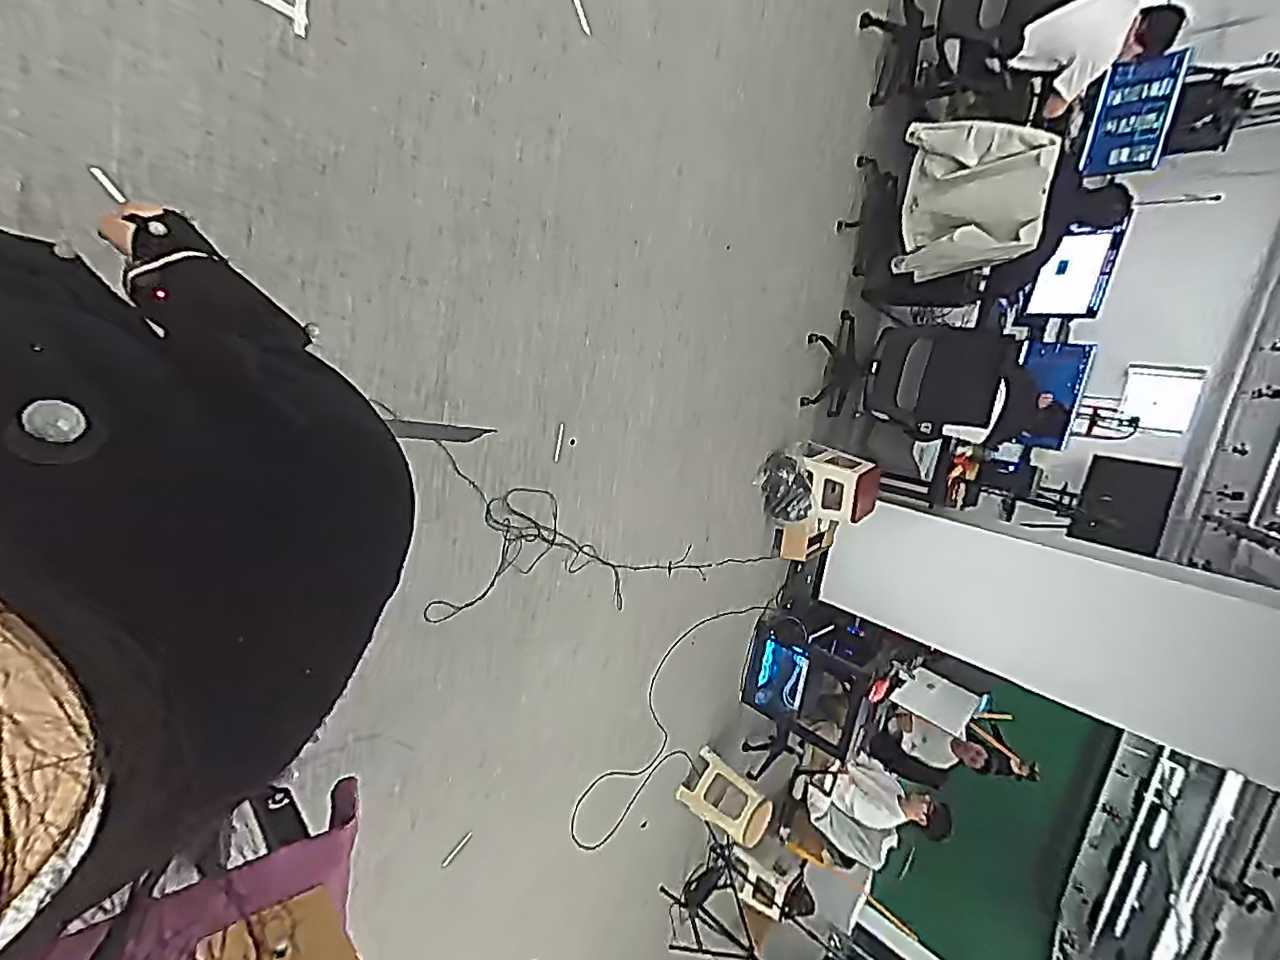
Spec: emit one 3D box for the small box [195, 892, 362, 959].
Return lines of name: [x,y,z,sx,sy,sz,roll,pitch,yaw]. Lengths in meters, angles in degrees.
small box: [-0.522,0.741,0.769,0.168,0.176,0.179,3,102,-48]
